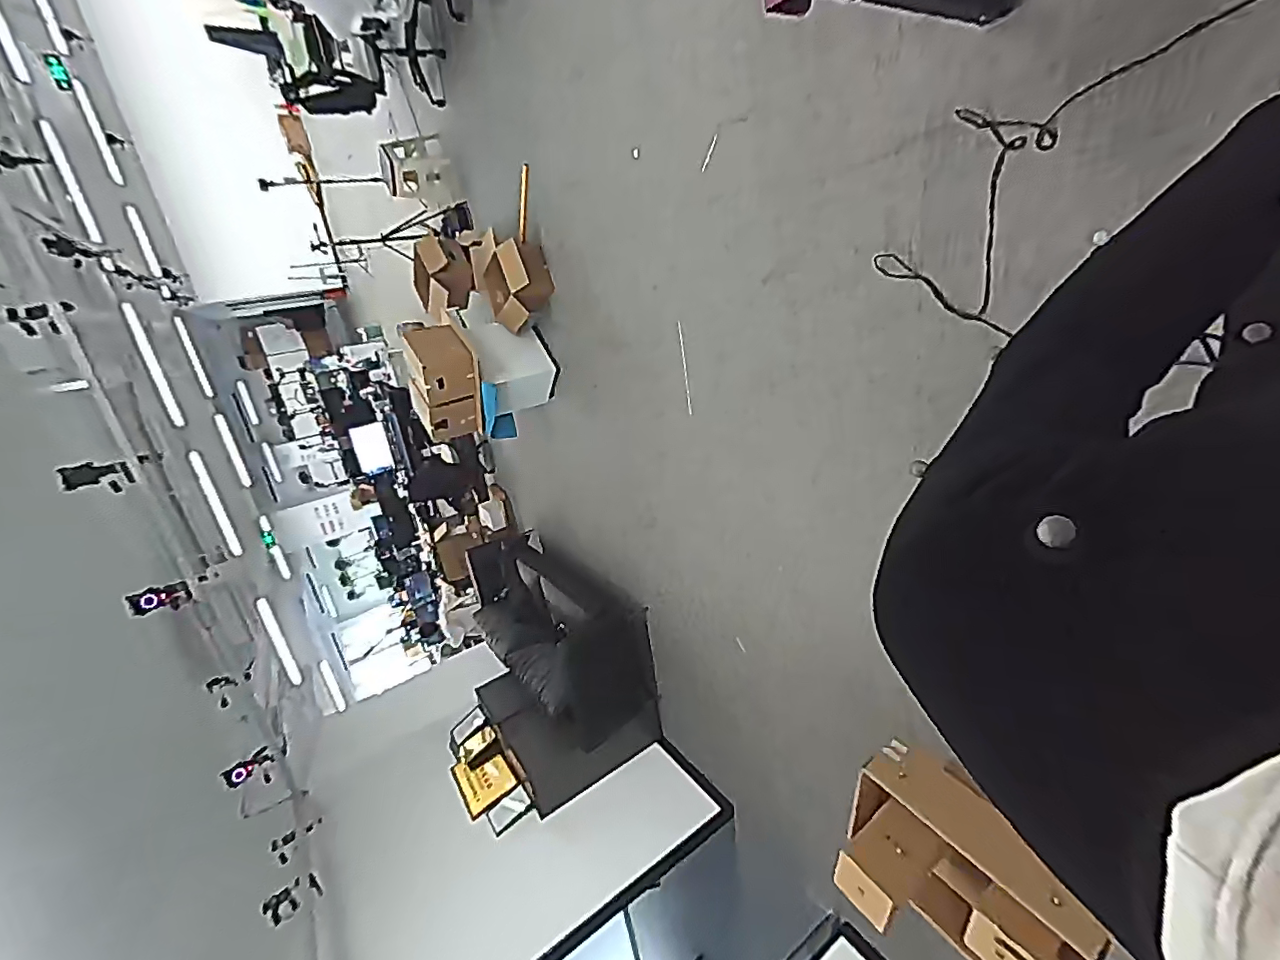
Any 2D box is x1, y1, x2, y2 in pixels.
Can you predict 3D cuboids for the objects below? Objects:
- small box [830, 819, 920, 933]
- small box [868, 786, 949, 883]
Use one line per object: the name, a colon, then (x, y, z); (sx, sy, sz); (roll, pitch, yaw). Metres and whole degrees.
small box: (0.680, 1.142, 1.568); (0.168, 0.176, 0.179); (32, 134, 46)
small box: (0.809, 1.091, 1.653); (0.168, 0.176, 0.179); (33, 134, 45)
